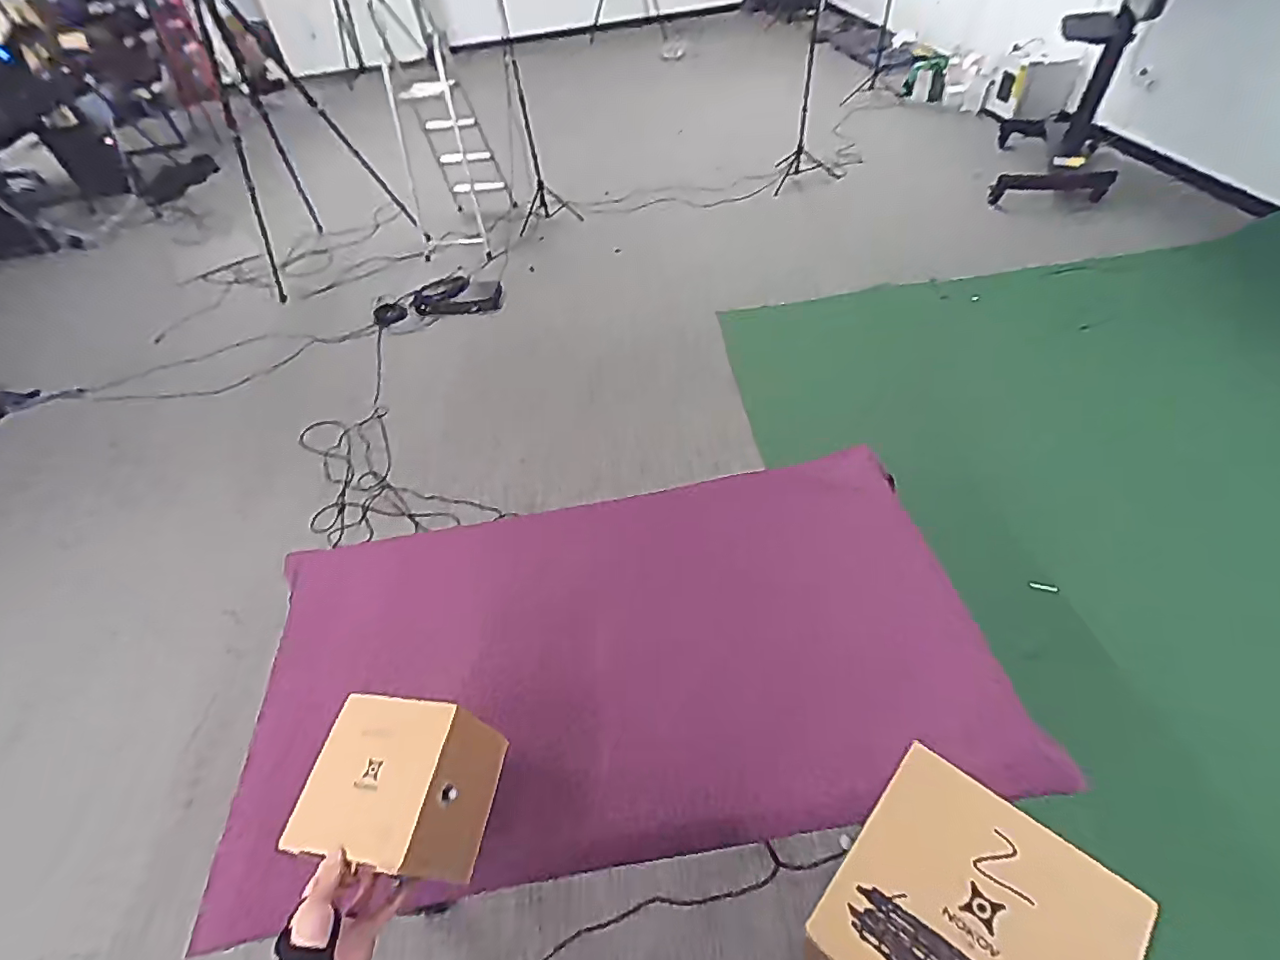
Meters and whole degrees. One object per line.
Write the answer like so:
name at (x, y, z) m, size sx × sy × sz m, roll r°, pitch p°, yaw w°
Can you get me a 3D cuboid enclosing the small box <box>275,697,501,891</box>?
small box at (-0.301, 0.403, 0.693) m, size 0.168 × 0.176 × 0.179 m, roll 0°, pitch 49°, yaw 16°
